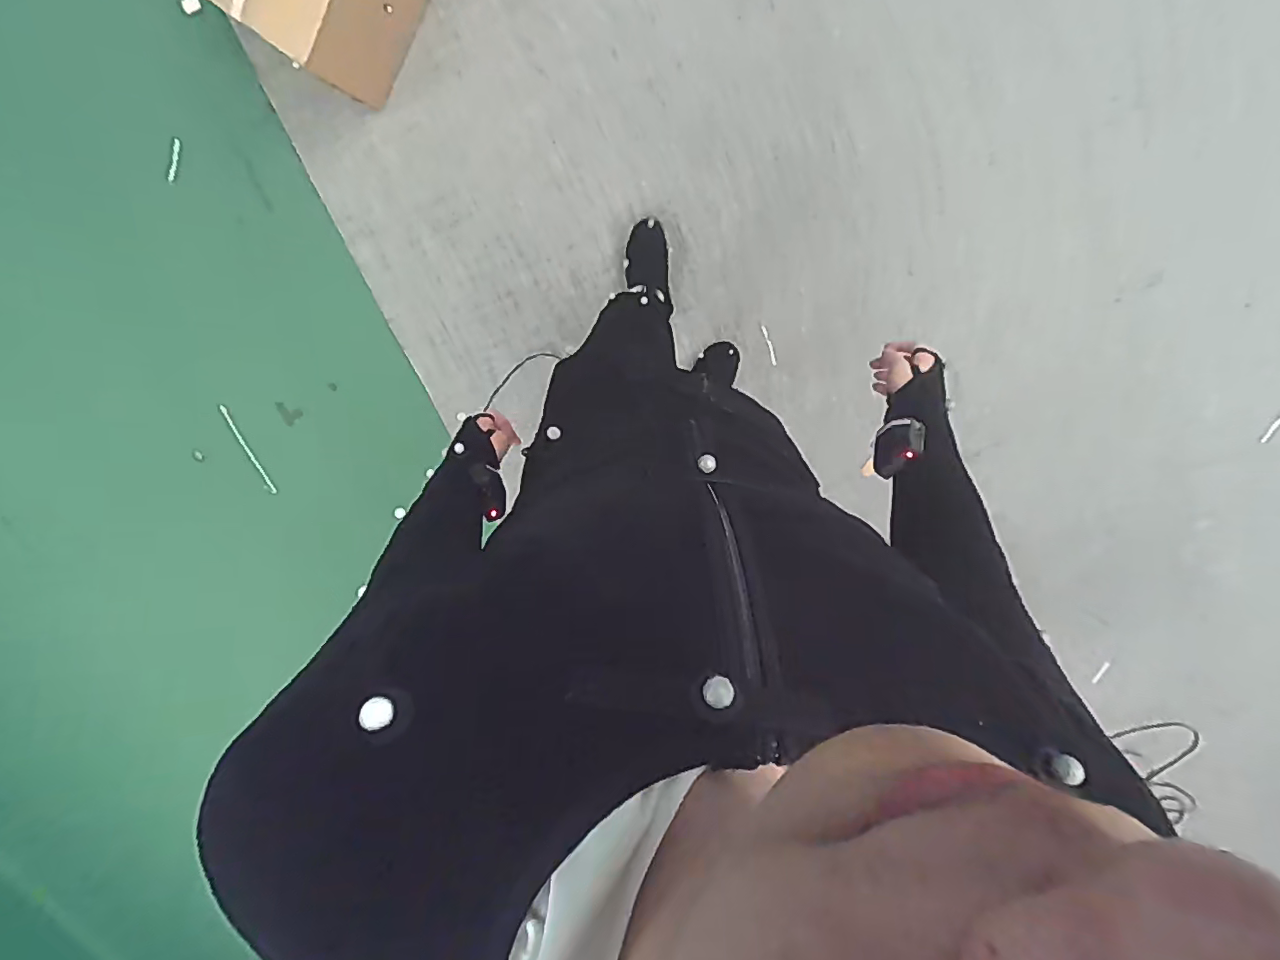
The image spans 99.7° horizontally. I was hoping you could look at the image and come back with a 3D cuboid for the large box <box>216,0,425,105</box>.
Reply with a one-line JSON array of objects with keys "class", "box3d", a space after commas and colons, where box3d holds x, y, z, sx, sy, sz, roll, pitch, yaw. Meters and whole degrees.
[{"class": "large box", "box3d": [-0.689, -1.146, 1.174, 0.320, 0.320, 0.408, 34, 110, -6]}]
